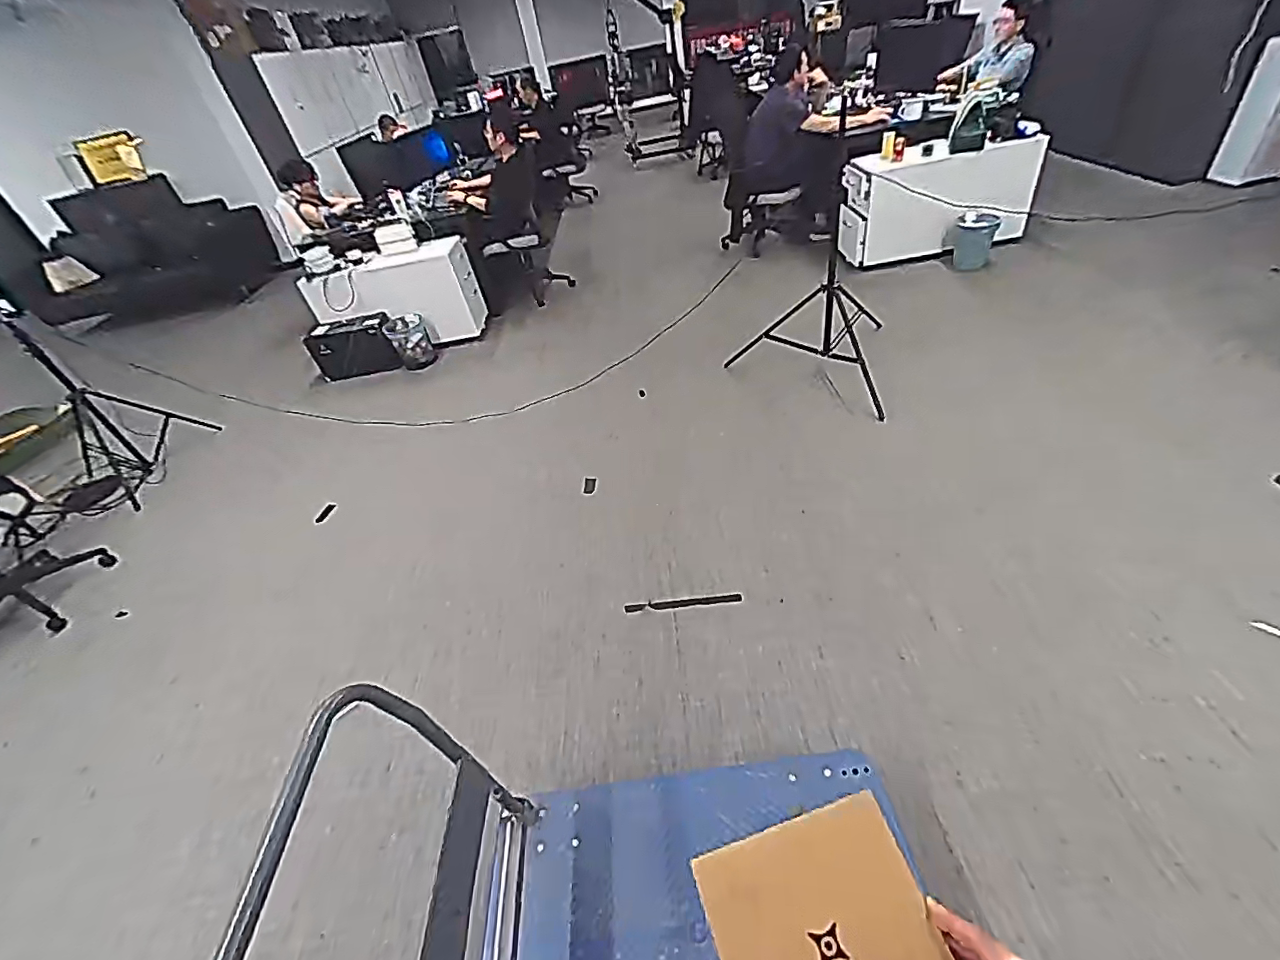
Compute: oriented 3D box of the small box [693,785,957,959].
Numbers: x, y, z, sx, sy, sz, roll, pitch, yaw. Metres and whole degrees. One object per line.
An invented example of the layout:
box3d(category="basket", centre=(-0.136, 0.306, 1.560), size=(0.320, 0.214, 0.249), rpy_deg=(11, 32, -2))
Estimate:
box3d(category="small box", centre=(0.156, 0.392, 0.467), size=(0.168, 0.176, 0.179), rpy_deg=(-21, 56, -2))
